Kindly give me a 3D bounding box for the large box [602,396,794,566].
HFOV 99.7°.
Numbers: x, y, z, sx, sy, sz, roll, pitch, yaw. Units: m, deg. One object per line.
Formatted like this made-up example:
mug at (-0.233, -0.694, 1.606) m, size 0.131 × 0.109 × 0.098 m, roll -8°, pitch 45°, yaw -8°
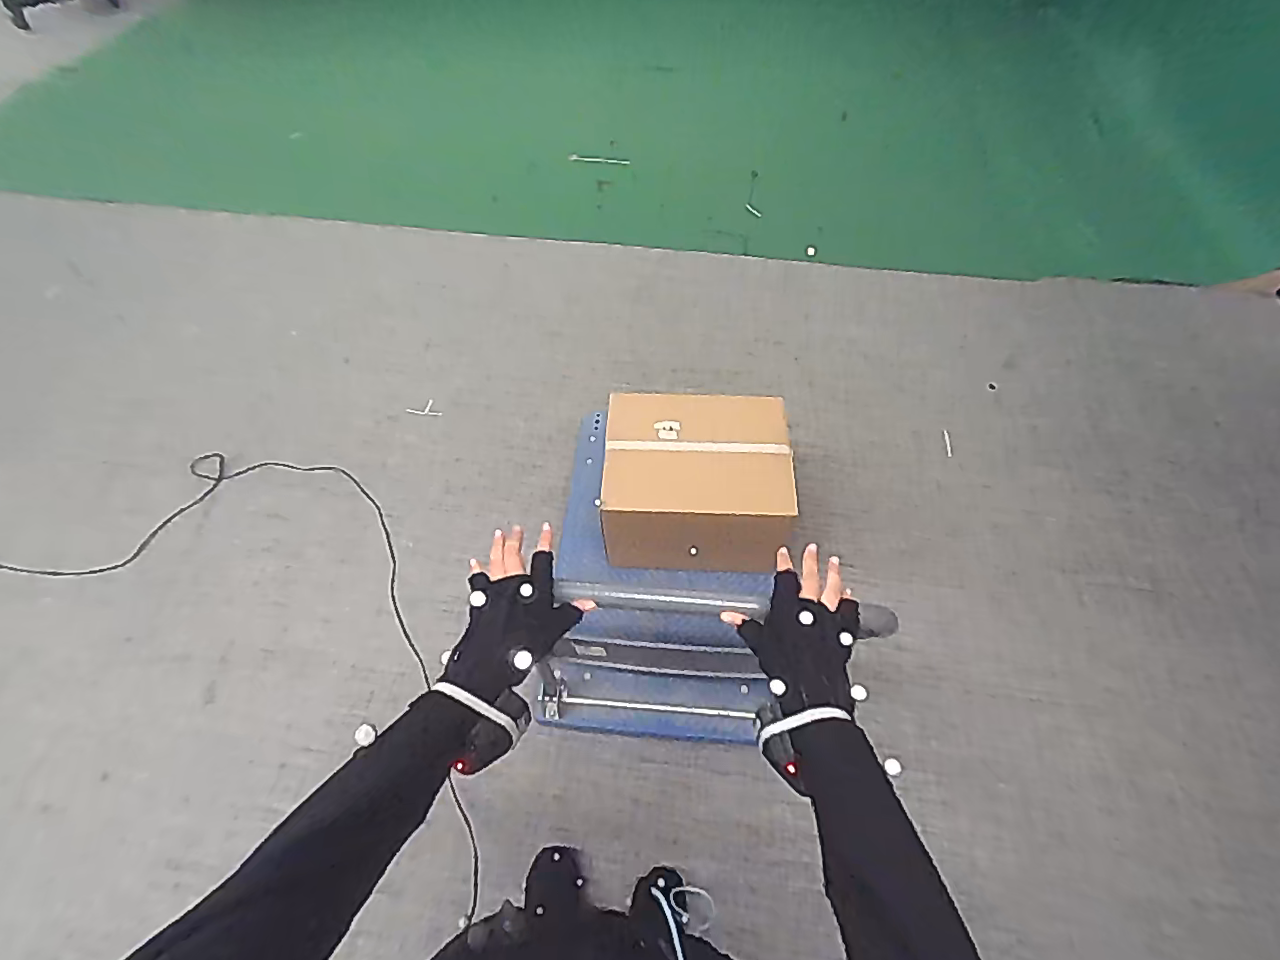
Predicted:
large box at (0.126, 0.011, 1.313) m, size 0.408 × 0.320 × 0.320 m, roll 0°, pitch 58°, yaw 2°
